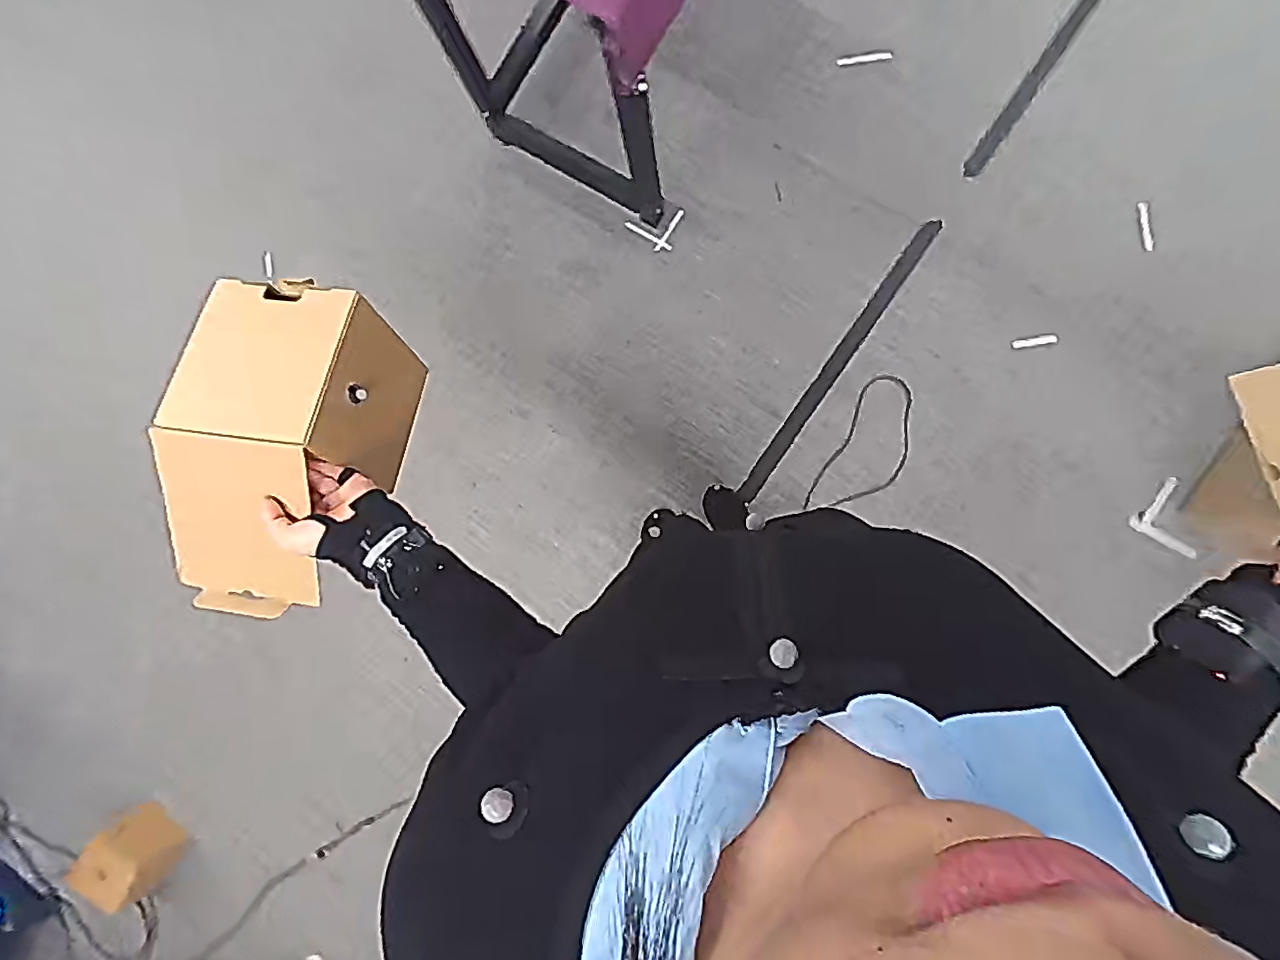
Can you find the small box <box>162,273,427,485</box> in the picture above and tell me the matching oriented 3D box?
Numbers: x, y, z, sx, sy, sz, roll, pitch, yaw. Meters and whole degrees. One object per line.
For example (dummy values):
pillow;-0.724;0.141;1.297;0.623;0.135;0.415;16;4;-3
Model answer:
small box;-0.372;-0.105;0.622;0.168;0.176;0.179;8;72;7
